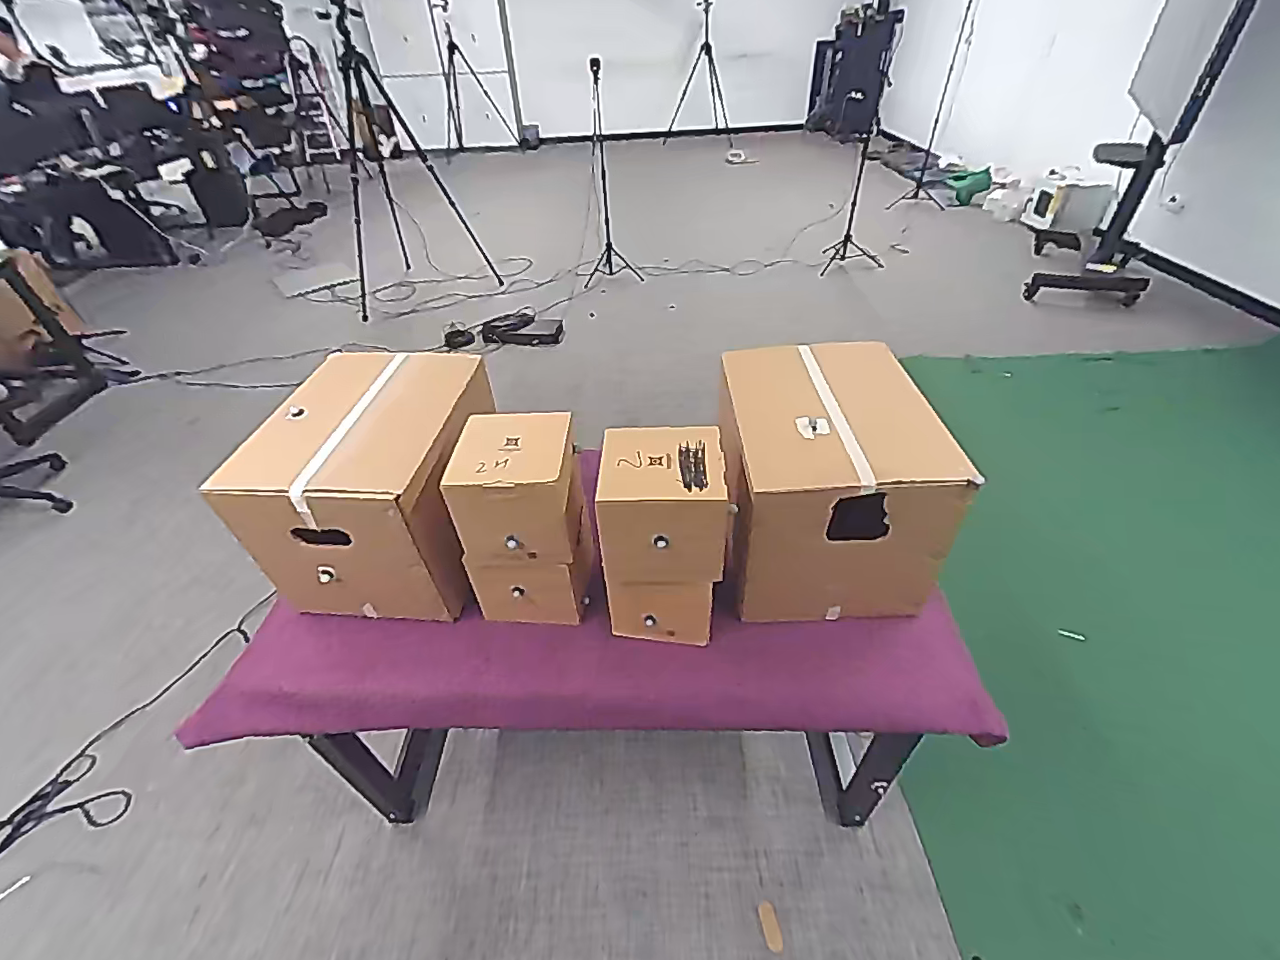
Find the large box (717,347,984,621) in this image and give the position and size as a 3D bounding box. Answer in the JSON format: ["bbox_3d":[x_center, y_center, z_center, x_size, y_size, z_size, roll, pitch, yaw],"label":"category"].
[{"bbox_3d":[0.321,-0.003,0.981,0.320,0.320,0.408,-4,42,3],"label":"large box"}]

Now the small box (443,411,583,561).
[{"bbox_3d":[-0.186,0.008,0.853,0.168,0.176,0.179,-2,41,3],"label":"small box"}]
